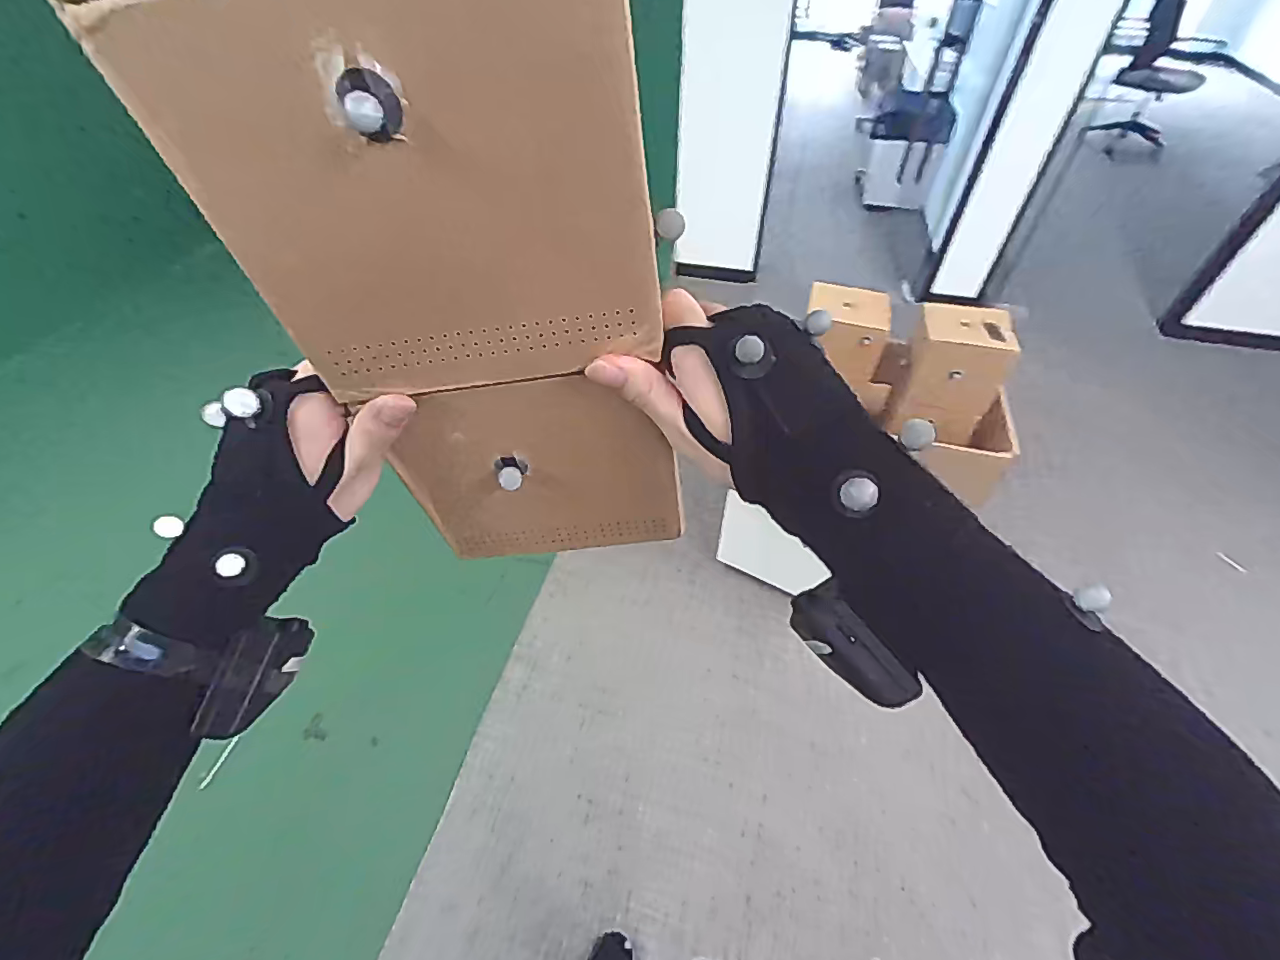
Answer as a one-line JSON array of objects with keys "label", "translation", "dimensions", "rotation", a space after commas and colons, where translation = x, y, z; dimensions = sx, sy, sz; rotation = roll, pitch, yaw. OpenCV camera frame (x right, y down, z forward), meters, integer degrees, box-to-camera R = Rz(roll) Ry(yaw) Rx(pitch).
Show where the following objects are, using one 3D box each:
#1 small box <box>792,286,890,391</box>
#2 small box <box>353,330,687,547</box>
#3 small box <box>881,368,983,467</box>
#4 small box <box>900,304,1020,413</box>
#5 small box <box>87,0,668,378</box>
[{"label": "small box", "translation": [0.465, -0.329, 1.268], "dimensions": [0.179, 0.176, 0.168], "rotation": [14, 48, 9]}, {"label": "small box", "translation": [-0.064, -0.064, 0.400], "dimensions": [0.179, 0.176, 0.168], "rotation": [-6, 49, 5]}, {"label": "small box", "translation": [0.701, -0.153, 1.320], "dimensions": [0.179, 0.176, 0.168], "rotation": [12, 48, 13]}, {"label": "small box", "translation": [0.700, -0.267, 1.203], "dimensions": [0.179, 0.176, 0.168], "rotation": [11, 47, 12]}, {"label": "small box", "translation": [-0.083, -0.167, 0.273], "dimensions": [0.179, 0.176, 0.168], "rotation": [-6, 48, 4]}]
